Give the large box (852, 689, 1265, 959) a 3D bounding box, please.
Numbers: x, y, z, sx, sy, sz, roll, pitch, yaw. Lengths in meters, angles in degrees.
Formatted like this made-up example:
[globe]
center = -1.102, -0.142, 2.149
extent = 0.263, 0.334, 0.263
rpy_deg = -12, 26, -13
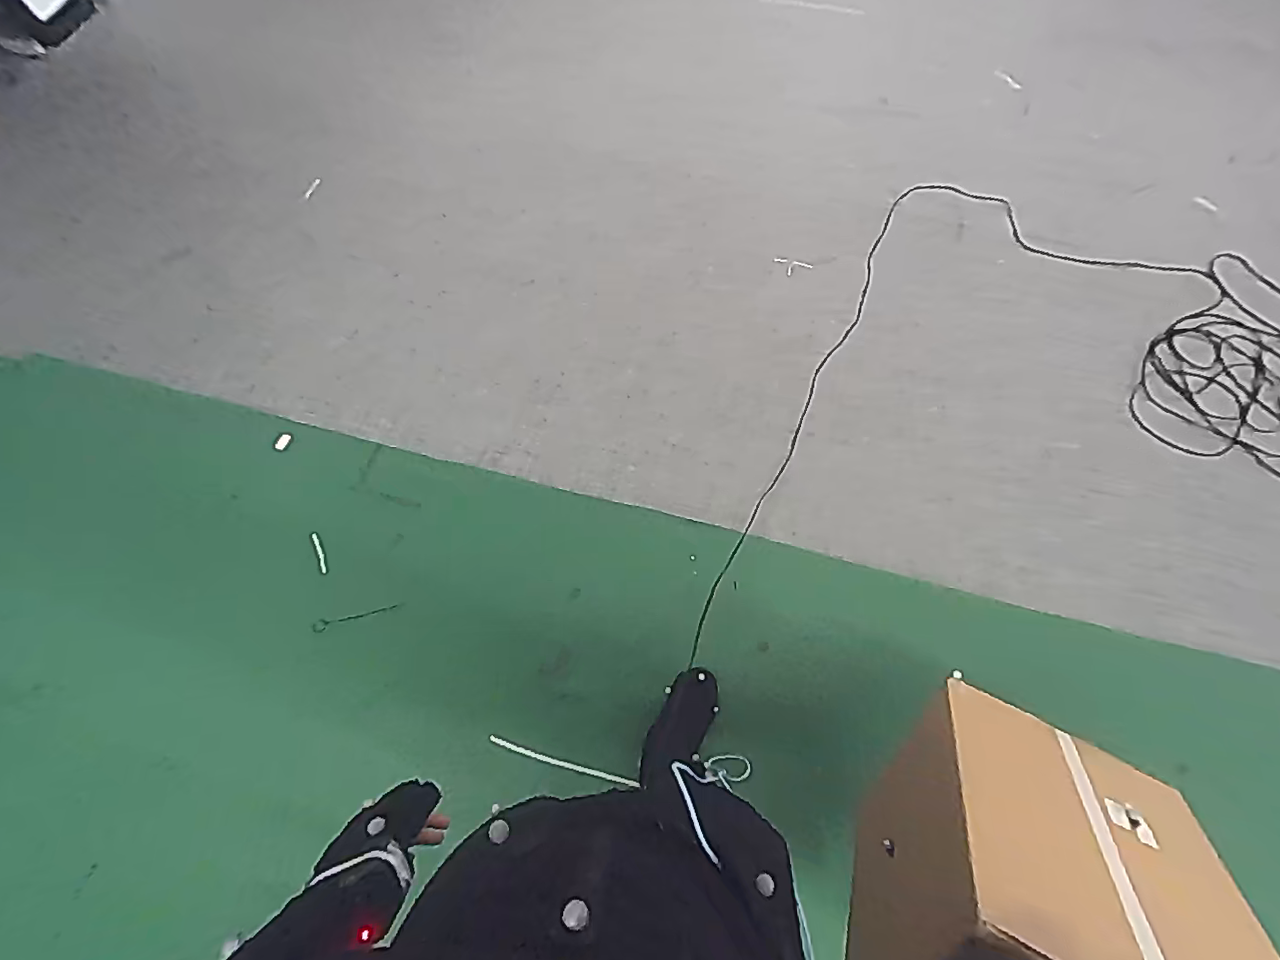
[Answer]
[large box]
center = 0.474, 0.559, 0.667
extent = 0.320, 0.408, 0.320
rpy_deg = 26, 112, 18
